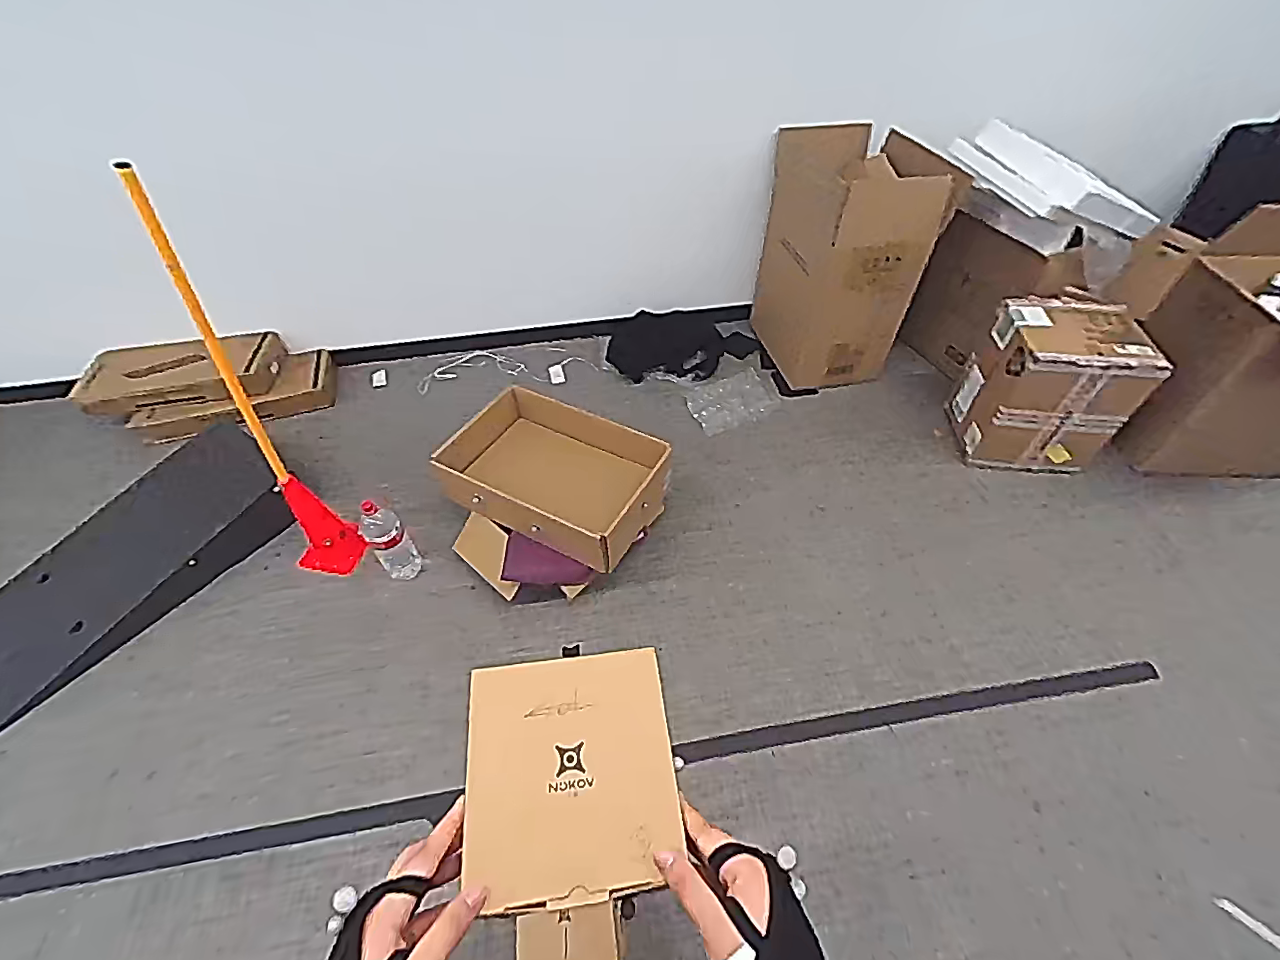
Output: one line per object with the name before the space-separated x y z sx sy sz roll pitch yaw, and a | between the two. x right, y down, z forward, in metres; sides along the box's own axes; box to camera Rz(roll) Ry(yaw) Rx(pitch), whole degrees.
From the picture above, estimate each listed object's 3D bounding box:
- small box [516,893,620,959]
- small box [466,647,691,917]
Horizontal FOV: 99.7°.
small box | -0.129 0.783 0.981 0.168 0.176 0.179 -7 50 -4
small box | -0.057 0.276 0.498 0.168 0.176 0.179 -5 52 -8
